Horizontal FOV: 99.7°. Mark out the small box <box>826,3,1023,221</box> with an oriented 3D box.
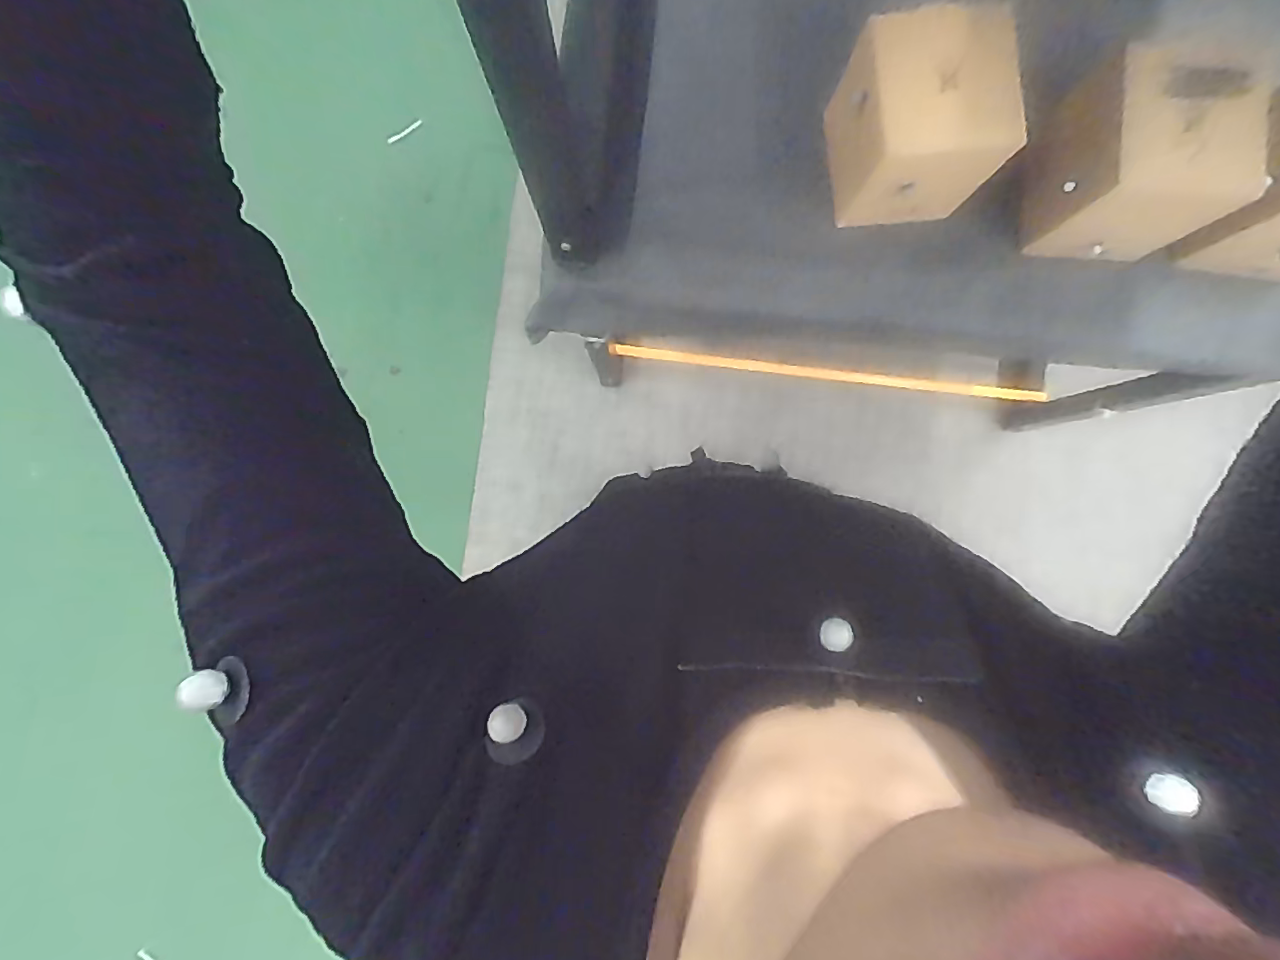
[{"bbox_3d":[0.357,-0.461,0.708,0.168,0.176,0.179,-5,87,1],"label":"small box"}]
